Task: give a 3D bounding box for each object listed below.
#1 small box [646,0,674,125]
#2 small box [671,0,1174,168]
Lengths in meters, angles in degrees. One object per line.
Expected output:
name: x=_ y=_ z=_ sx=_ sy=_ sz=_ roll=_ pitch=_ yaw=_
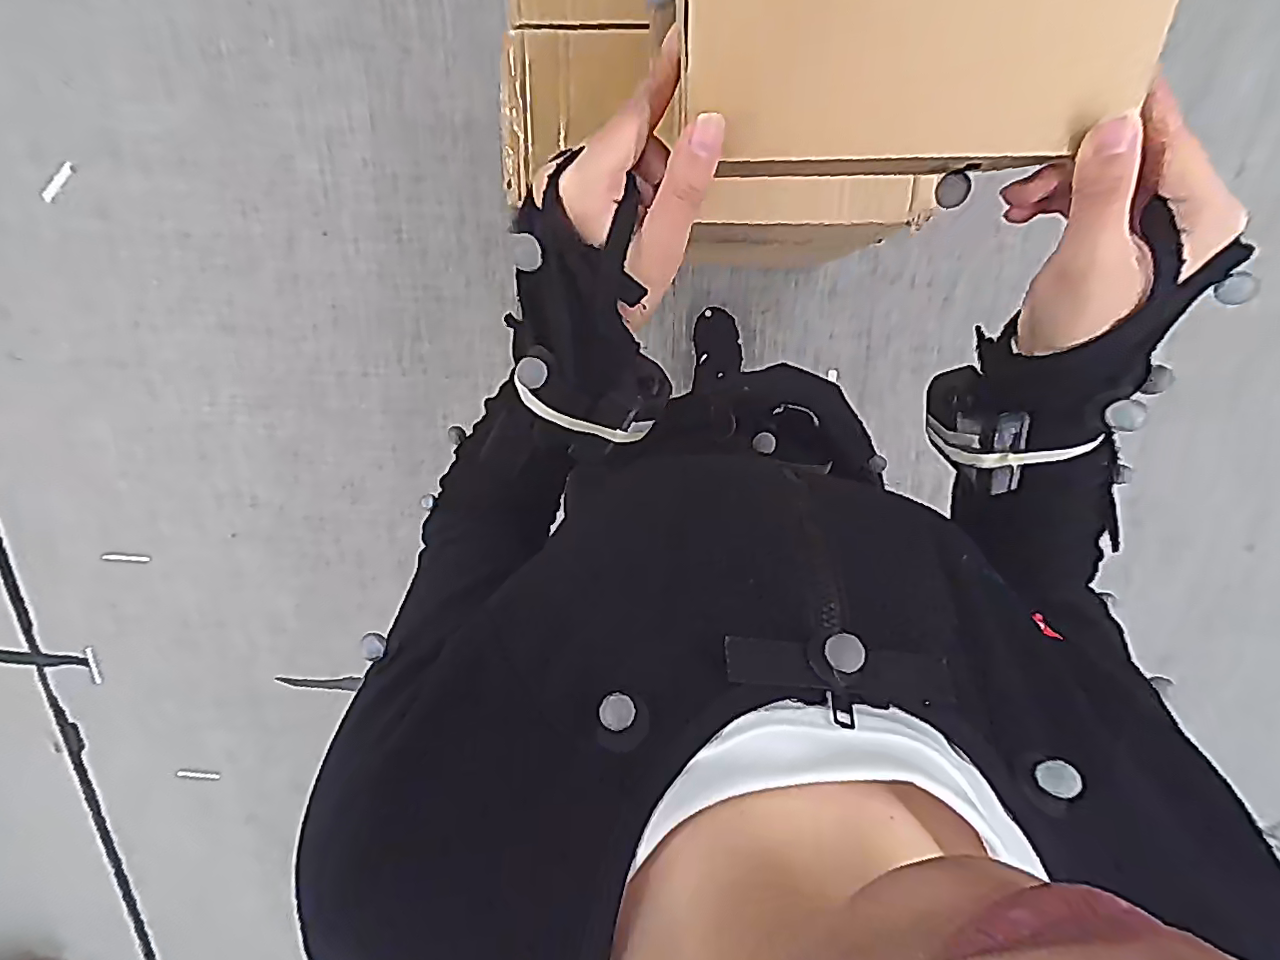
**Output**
small box: x=0.102 y=-0.466 z=0.531 sx=0.179 sy=0.176 sz=0.168 roll=3 pitch=107 yaw=4
small box: x=0.105 y=-0.243 z=0.245 sx=0.179 sy=0.176 sz=0.168 roll=1 pitch=117 yaw=3
